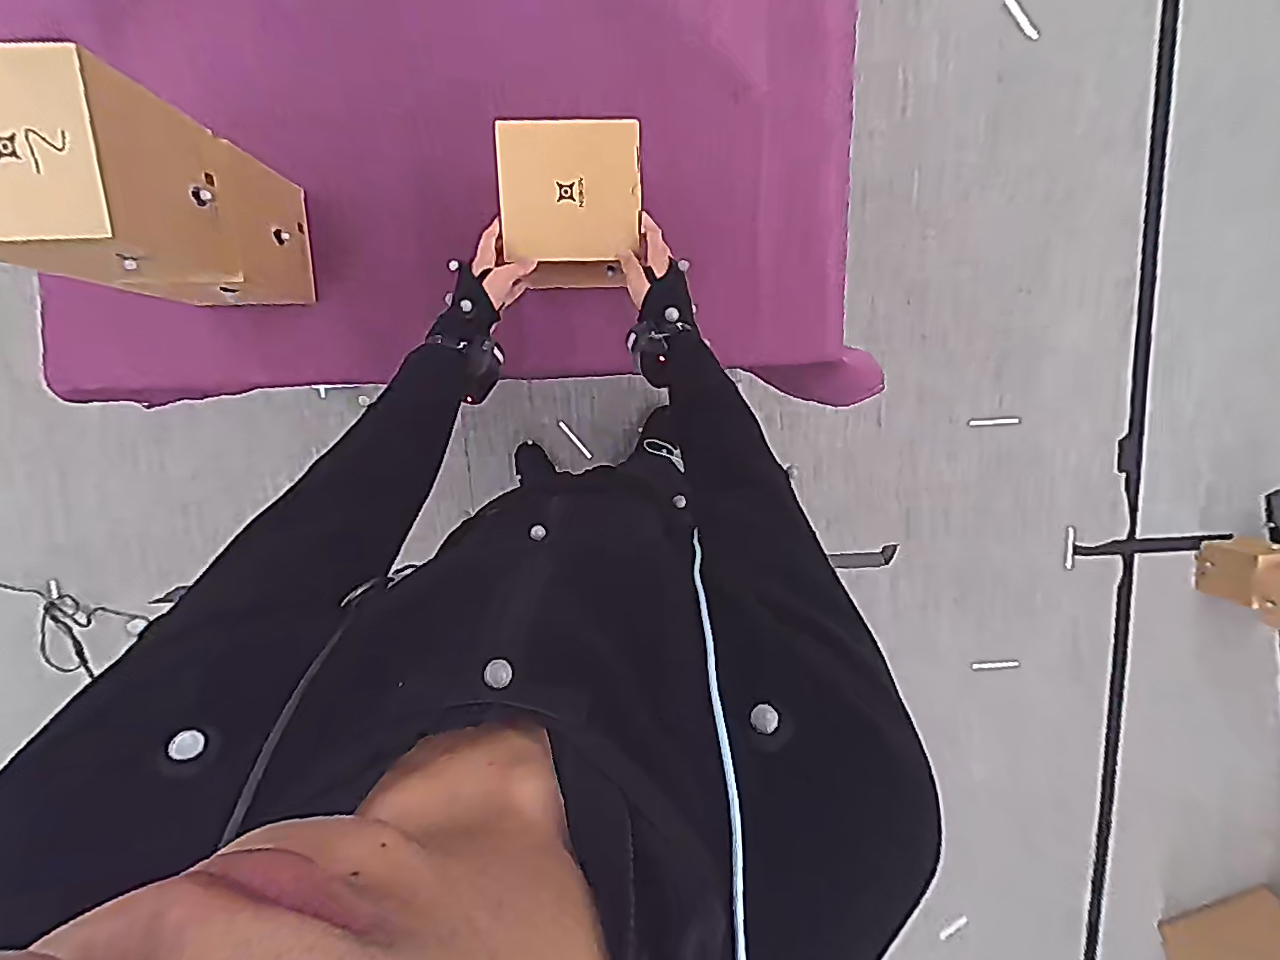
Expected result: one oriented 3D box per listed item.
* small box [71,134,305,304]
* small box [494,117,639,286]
[{"bbox_3d":[-0.578,-0.335,0.724,0.179,0.176,0.168,-1,99,-2],"label":"small box"},{"bbox_3d":[-0.091,-0.367,0.741,0.179,0.176,0.168,-2,99,-2],"label":"small box"}]
